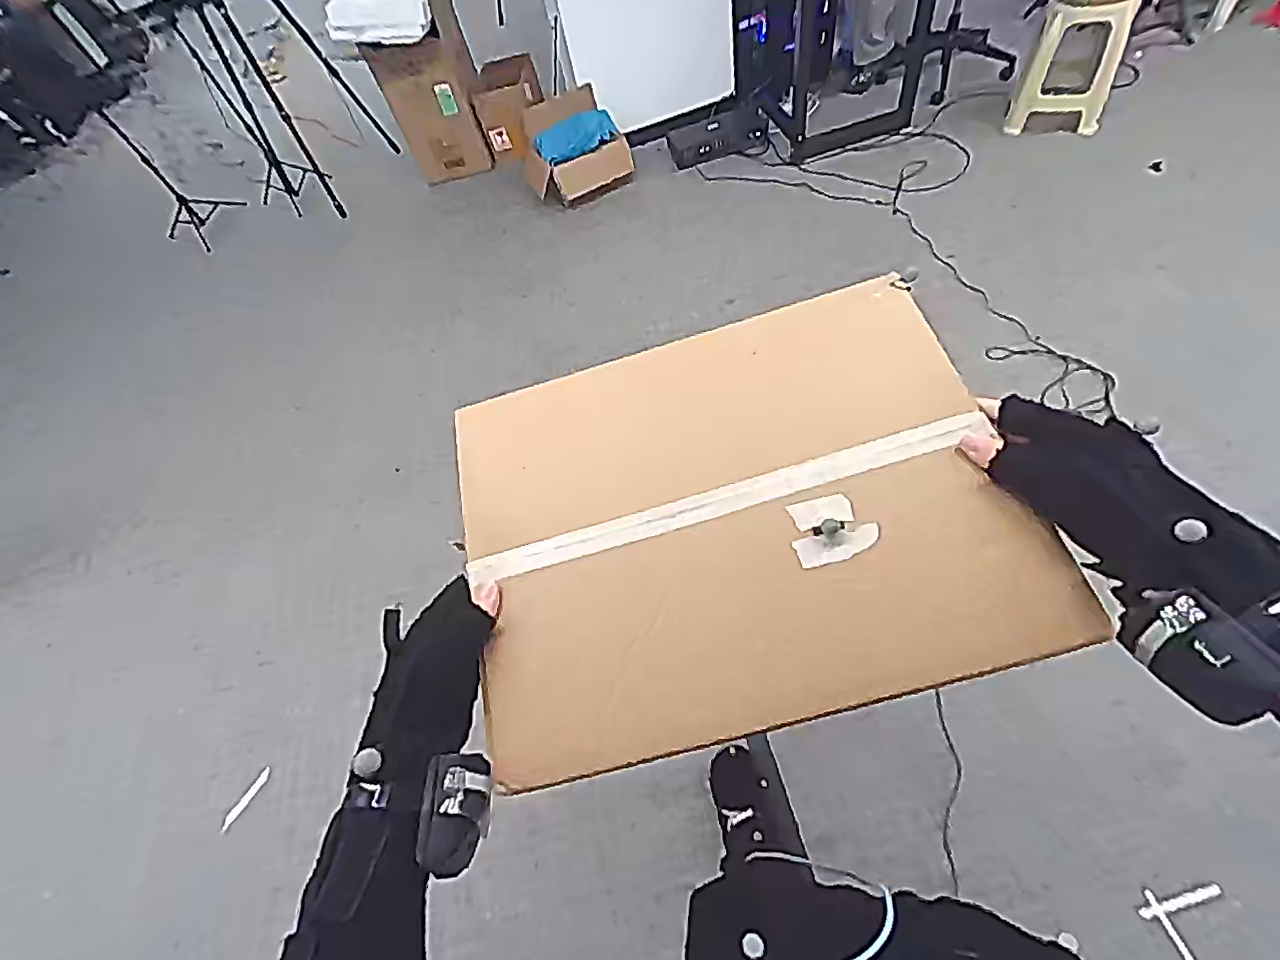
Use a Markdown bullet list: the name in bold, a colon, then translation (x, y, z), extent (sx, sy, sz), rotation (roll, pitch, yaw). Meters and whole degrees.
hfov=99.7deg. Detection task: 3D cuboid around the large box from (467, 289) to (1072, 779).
- **large box**: translation (0.087, 0.079, 0.562), extent (0.408, 0.320, 0.320), rotation (-17, 65, 4)
